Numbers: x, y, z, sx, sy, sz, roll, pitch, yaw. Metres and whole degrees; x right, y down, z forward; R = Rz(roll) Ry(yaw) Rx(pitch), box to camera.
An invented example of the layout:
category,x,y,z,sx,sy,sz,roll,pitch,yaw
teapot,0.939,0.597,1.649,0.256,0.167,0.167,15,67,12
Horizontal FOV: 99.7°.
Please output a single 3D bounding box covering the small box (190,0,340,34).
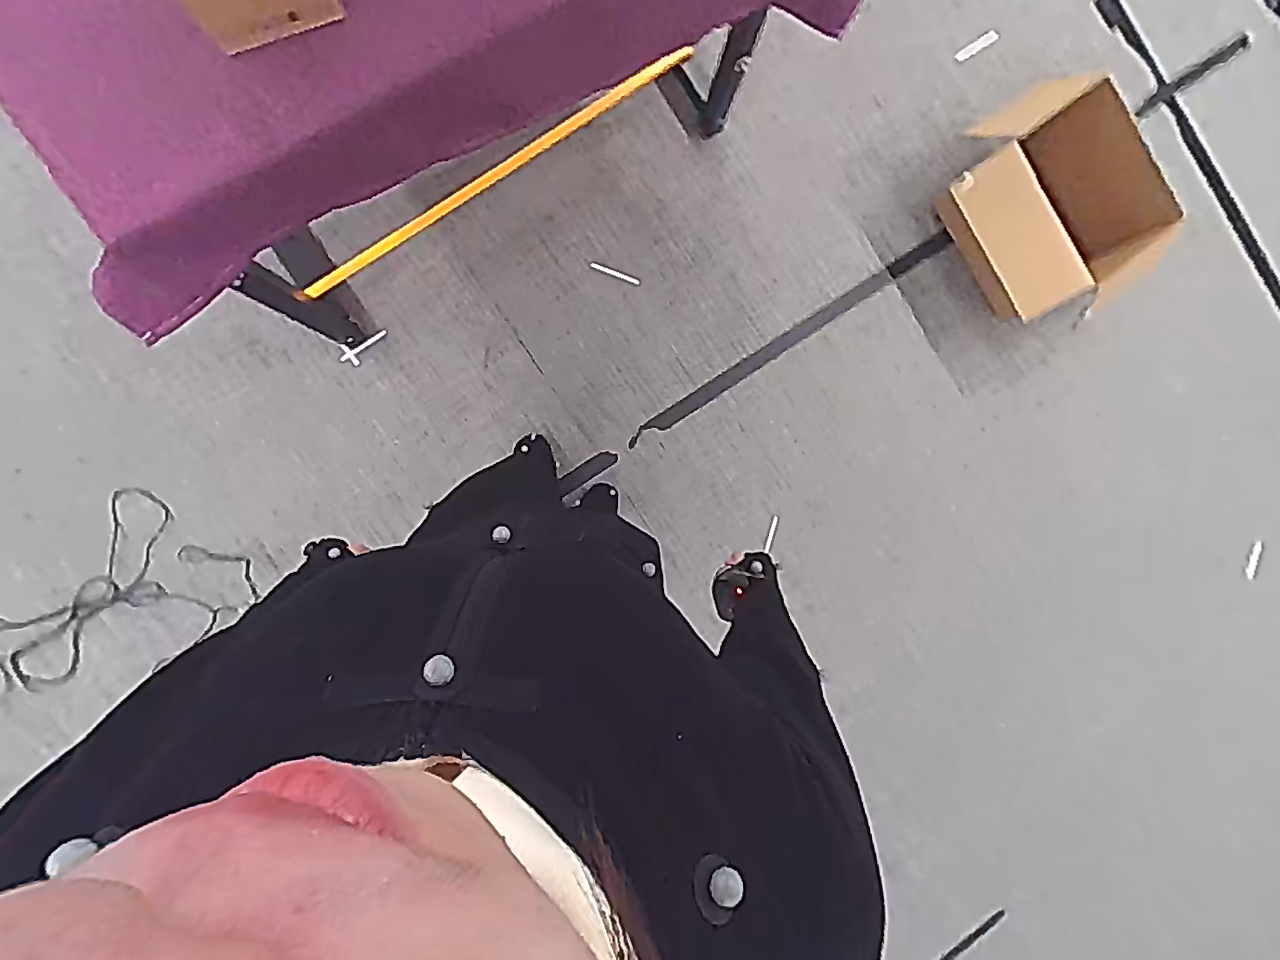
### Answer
category,x,y,z,sx,sy,sz,roll,pitch,yaw
small box,-0.489,-0.672,0.630,0.168,0.176,0.179,-22,93,-6
